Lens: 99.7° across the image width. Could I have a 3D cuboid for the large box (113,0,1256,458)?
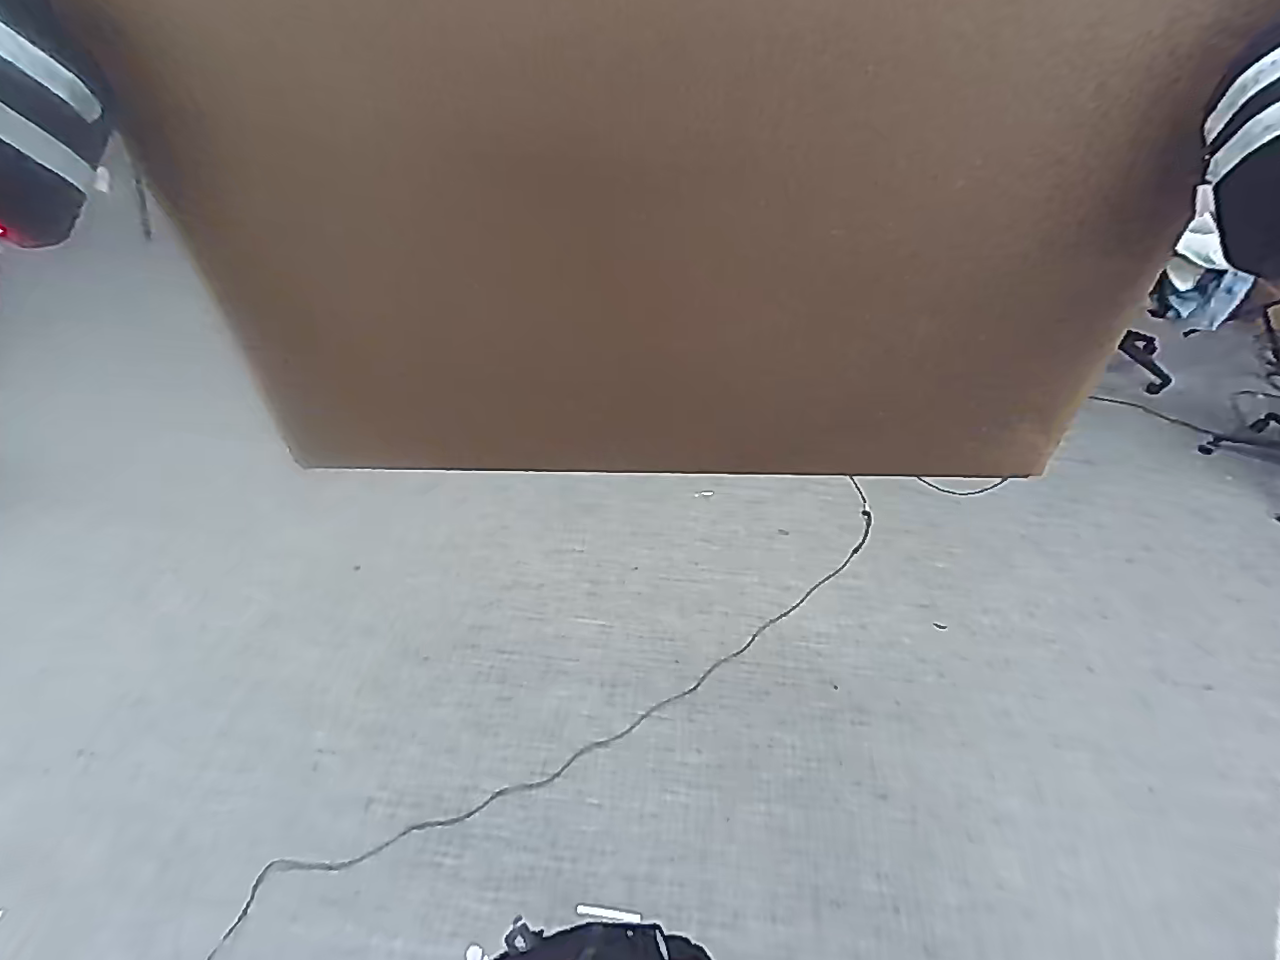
[{"bbox_3d":[0.014,-0.221,0.327,0.408,0.320,0.320,1,40,1],"label":"large box"}]
